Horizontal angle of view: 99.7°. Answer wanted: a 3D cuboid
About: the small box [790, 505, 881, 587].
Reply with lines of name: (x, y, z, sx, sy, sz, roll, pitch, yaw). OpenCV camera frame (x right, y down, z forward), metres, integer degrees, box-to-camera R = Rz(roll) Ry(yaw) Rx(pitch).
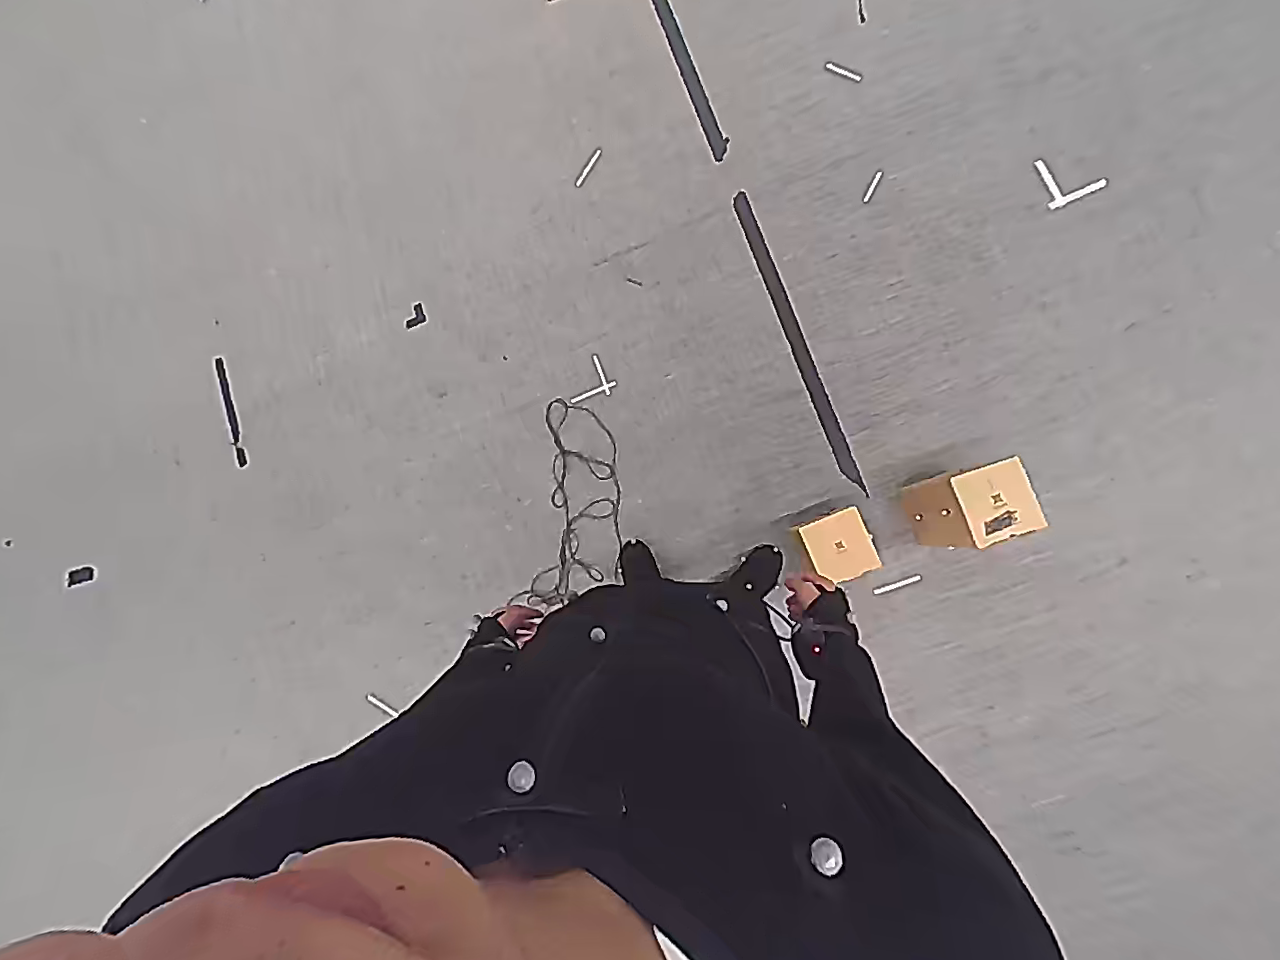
small box: (0.538, 0.184, 1.517, 0.168, 0.176, 0.179, -23, 83, 4)

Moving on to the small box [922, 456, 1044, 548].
small box: (0.830, 0.057, 1.327, 0.168, 0.176, 0.179, -19, 82, 4)
